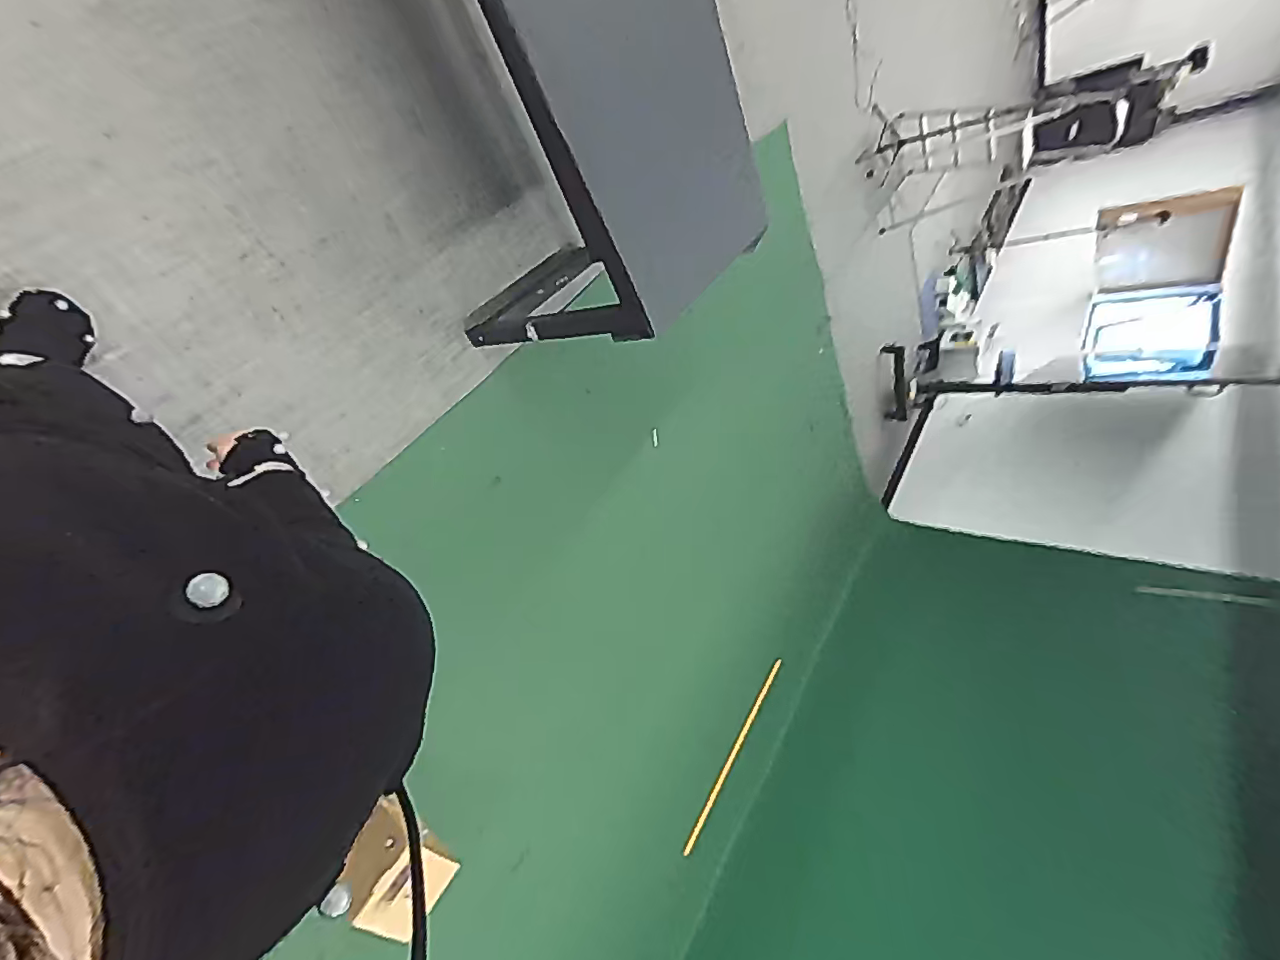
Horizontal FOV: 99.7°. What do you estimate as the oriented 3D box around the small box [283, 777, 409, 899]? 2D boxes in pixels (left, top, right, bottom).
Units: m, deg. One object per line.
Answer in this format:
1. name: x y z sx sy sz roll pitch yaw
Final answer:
1. small box: -0.708 0.856 1.306 0.168 0.176 0.179 -53 133 -30
